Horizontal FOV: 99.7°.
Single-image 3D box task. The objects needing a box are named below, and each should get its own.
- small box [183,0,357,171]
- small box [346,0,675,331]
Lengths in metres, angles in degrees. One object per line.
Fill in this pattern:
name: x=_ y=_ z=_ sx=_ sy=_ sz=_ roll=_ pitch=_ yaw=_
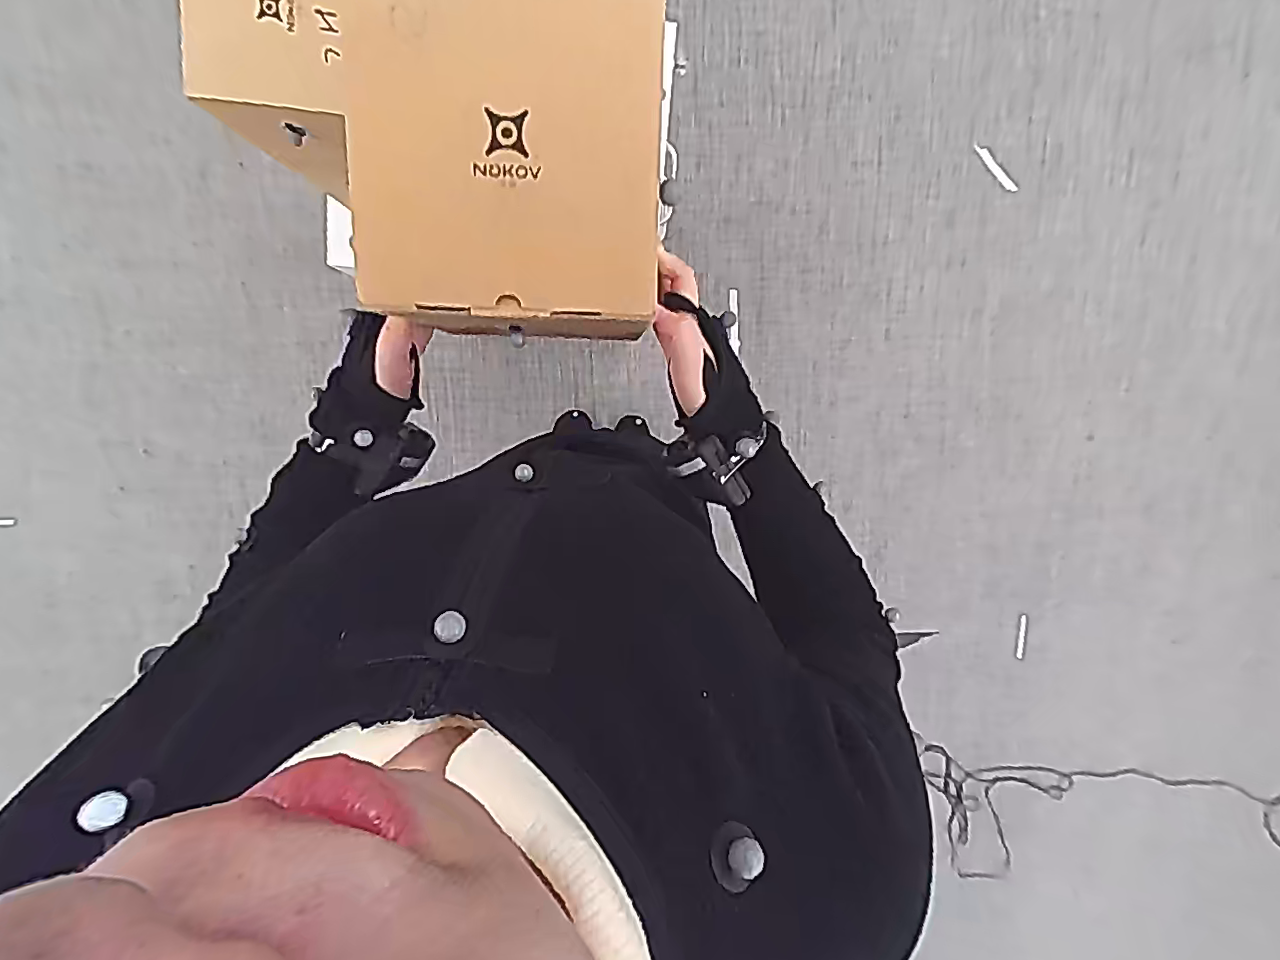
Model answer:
small box: x=-0.328 y=-0.440 z=0.567 sx=0.179 sy=0.176 sz=0.168 roll=5 pitch=100 yaw=-4
small box: x=-0.072 y=-0.198 z=0.362 sx=0.168 sy=0.176 sz=0.179 roll=1 pitch=103 yaw=-4
